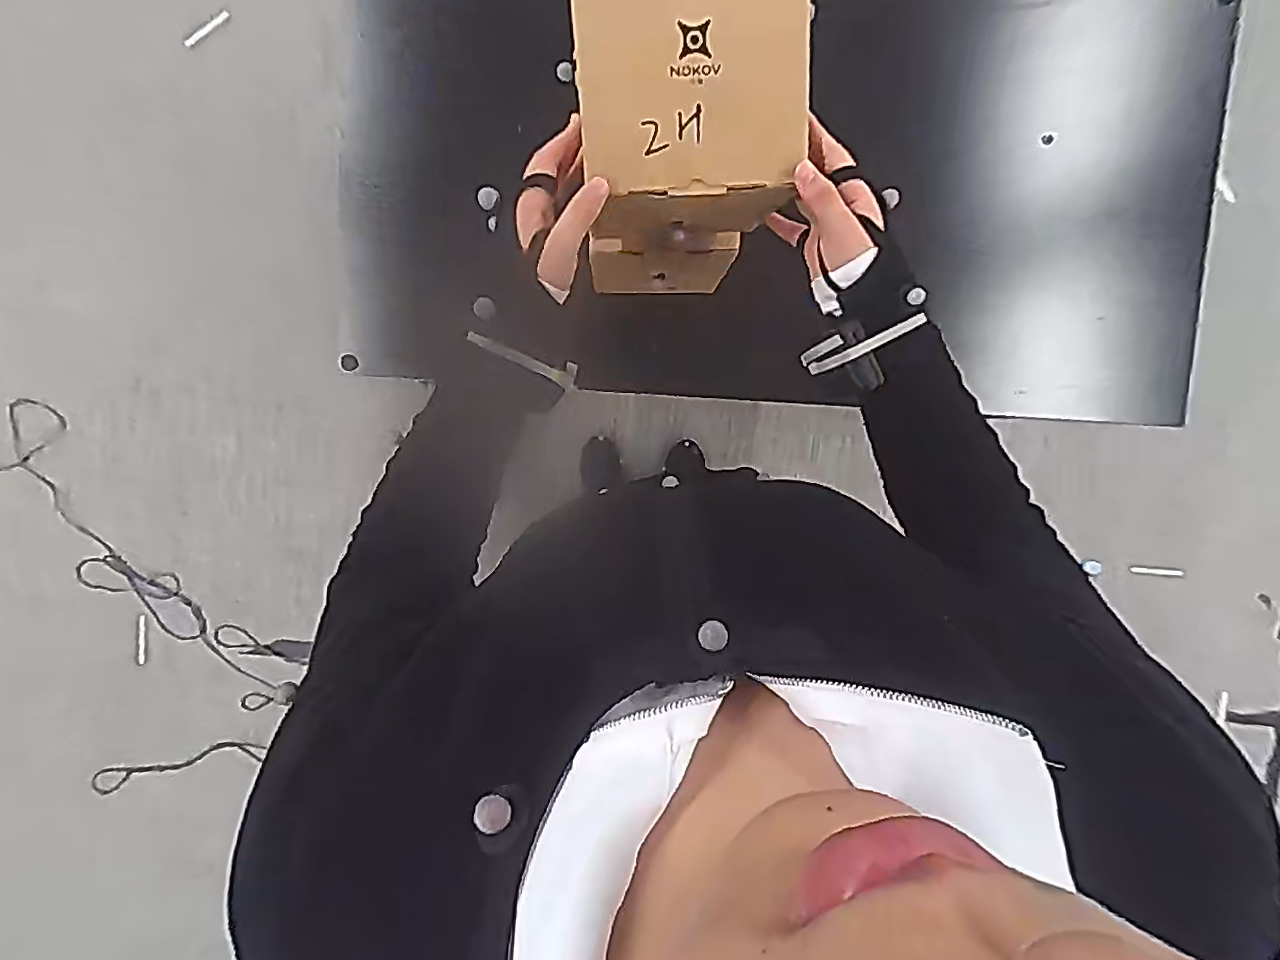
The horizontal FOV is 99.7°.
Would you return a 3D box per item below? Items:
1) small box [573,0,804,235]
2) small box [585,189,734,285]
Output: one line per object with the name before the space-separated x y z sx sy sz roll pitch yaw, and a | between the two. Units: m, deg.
small box | 0.031 -0.324 0.460 0.168 0.176 0.179 -4 103 -1
small box | 0.022 -0.346 0.662 0.168 0.176 0.179 -1 95 -1
